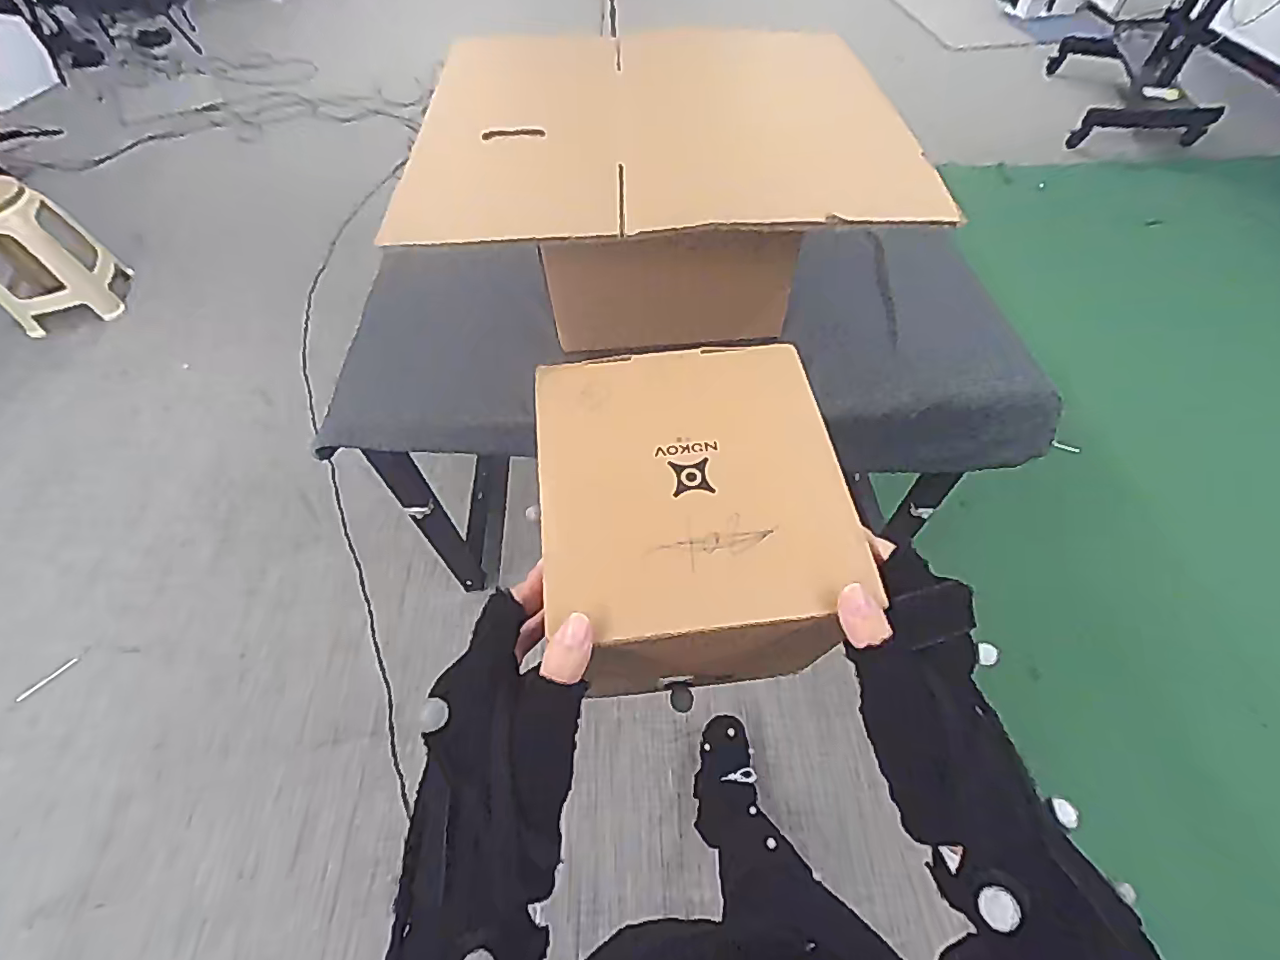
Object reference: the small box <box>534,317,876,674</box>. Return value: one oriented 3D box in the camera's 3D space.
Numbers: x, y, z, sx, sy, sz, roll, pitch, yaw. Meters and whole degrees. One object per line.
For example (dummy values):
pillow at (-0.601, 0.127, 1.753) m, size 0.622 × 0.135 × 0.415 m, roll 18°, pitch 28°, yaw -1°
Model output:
small box at (0.022, 0.018, 0.362) m, size 0.168 × 0.176 × 0.179 m, roll -5°, pitch 61°, yaw -4°
